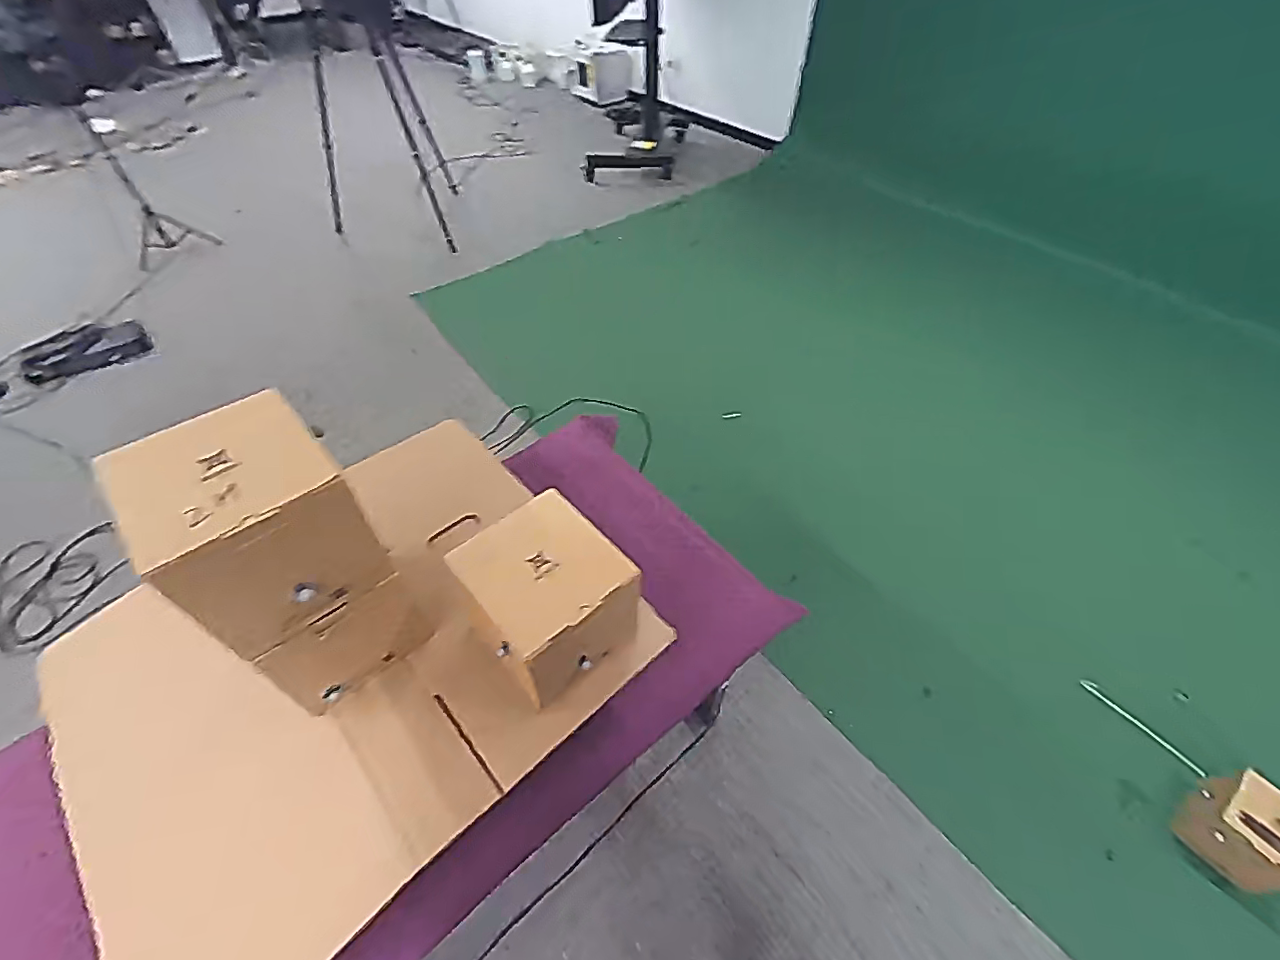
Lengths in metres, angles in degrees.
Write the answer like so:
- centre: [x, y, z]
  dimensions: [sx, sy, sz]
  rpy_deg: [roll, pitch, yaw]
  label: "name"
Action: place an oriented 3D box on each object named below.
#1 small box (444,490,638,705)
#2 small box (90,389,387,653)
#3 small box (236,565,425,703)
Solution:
- centre: [-0.122, 0.153, 0.697]
  dimensions: [0.168, 0.176, 0.179]
  rpy_deg: [-35, 59, -28]
  label: "small box"
- centre: [-0.397, 0.043, 0.560]
  dimensions: [0.168, 0.176, 0.179]
  rpy_deg: [-35, 59, -28]
  label: "small box"
- centre: [-0.401, 0.153, 0.682]
  dimensions: [0.168, 0.176, 0.179]
  rpy_deg: [-34, 58, -29]
  label: "small box"
